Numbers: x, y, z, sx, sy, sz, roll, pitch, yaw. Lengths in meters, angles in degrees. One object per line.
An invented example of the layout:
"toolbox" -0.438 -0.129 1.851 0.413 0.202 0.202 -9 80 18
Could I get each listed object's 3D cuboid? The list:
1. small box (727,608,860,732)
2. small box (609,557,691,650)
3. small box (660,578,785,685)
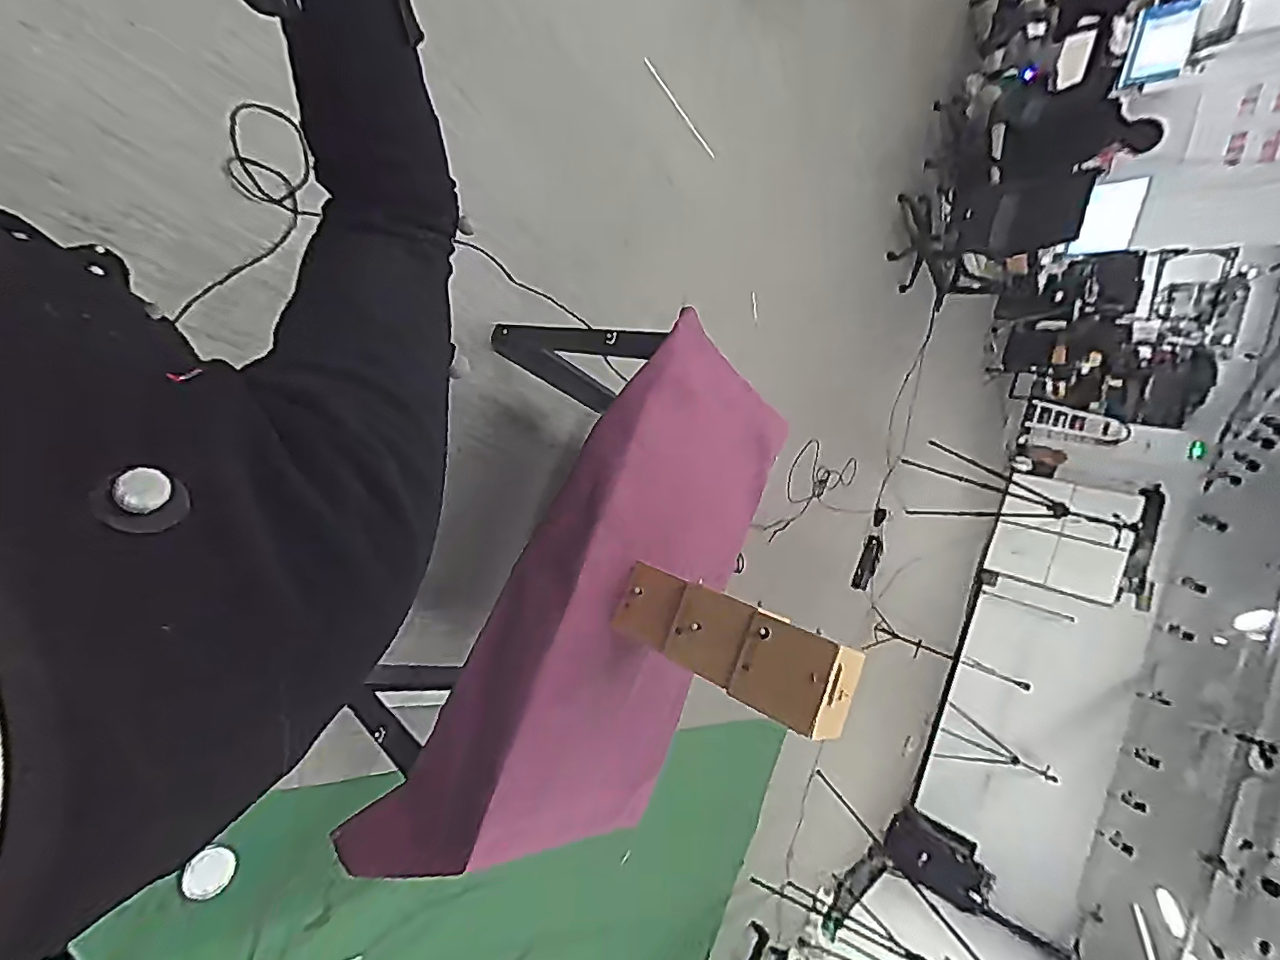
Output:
"small box" 0.288 0.355 1.021 0.179 0.176 0.168 32 78 -50
"small box" 0.061 0.292 1.251 0.179 0.176 0.168 33 77 -48
"small box" 0.174 0.319 1.134 0.179 0.176 0.168 31 78 -49
